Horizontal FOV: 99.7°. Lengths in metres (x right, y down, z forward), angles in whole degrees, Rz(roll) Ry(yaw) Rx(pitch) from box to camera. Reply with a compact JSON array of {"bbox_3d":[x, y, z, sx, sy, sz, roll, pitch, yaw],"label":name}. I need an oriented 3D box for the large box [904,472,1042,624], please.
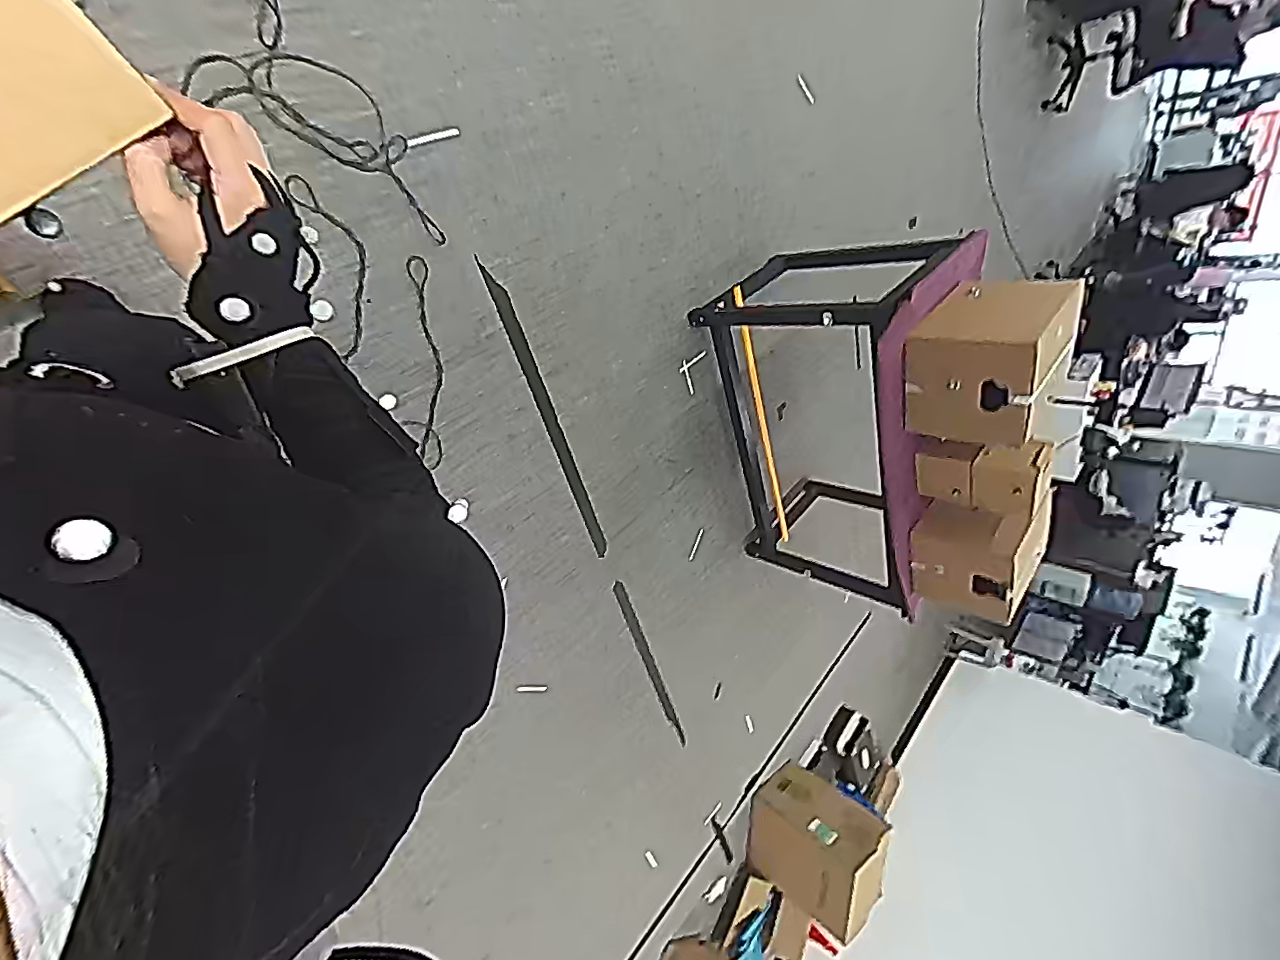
[{"bbox_3d":[1.179,0.223,1.924,0.408,0.320,0.320,-40,127,-31],"label":"large box"}]
